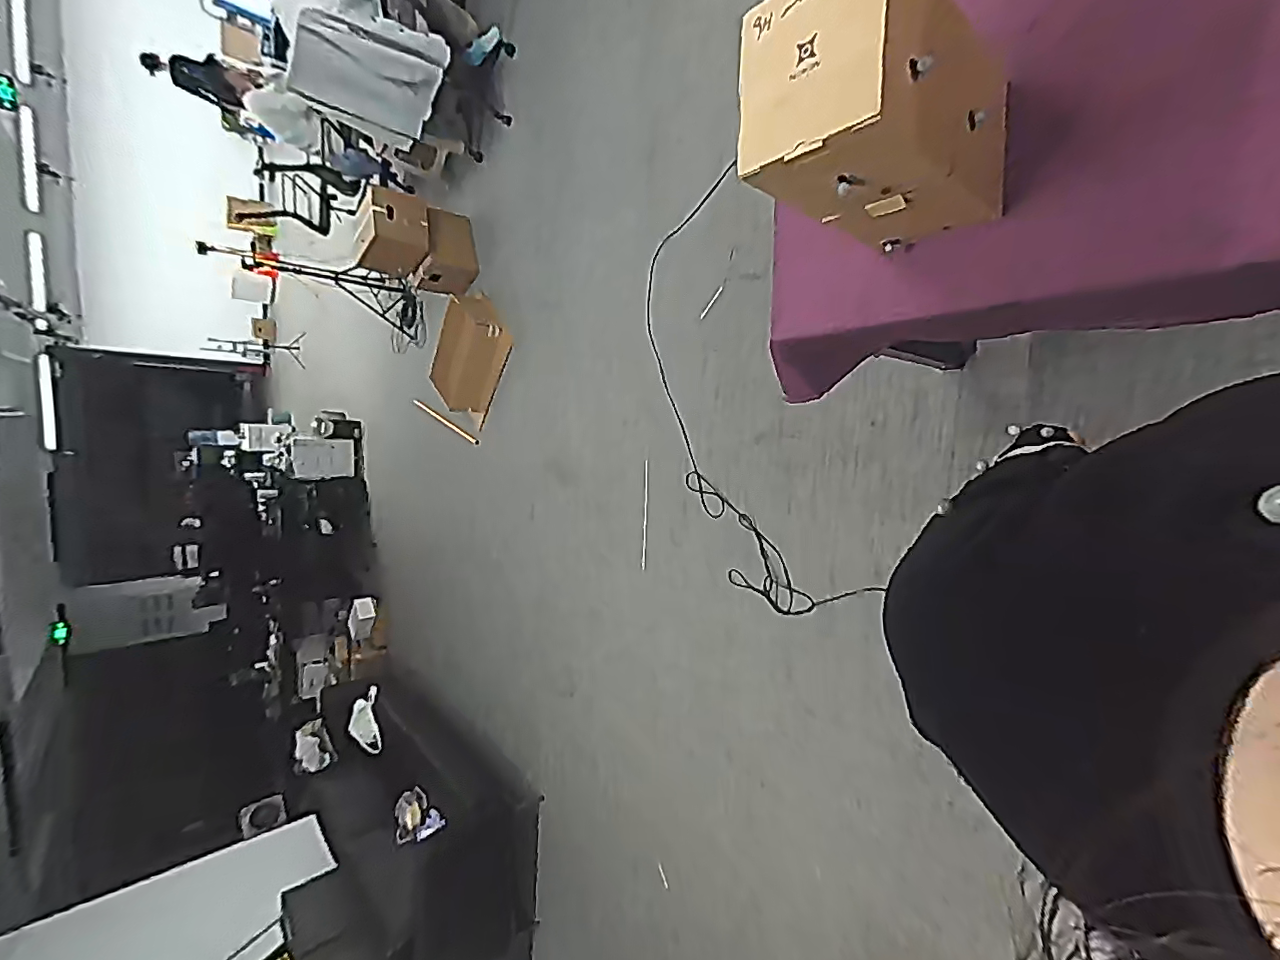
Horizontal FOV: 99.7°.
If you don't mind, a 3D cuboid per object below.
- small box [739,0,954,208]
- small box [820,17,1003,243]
[{"bbox_3d":[0.228,-0.423,0.599,0.168,0.176,0.179,7,98,48],"label":"small box"},{"bbox_3d":[0.354,-0.428,0.706,0.168,0.176,0.179,4,94,48],"label":"small box"}]
